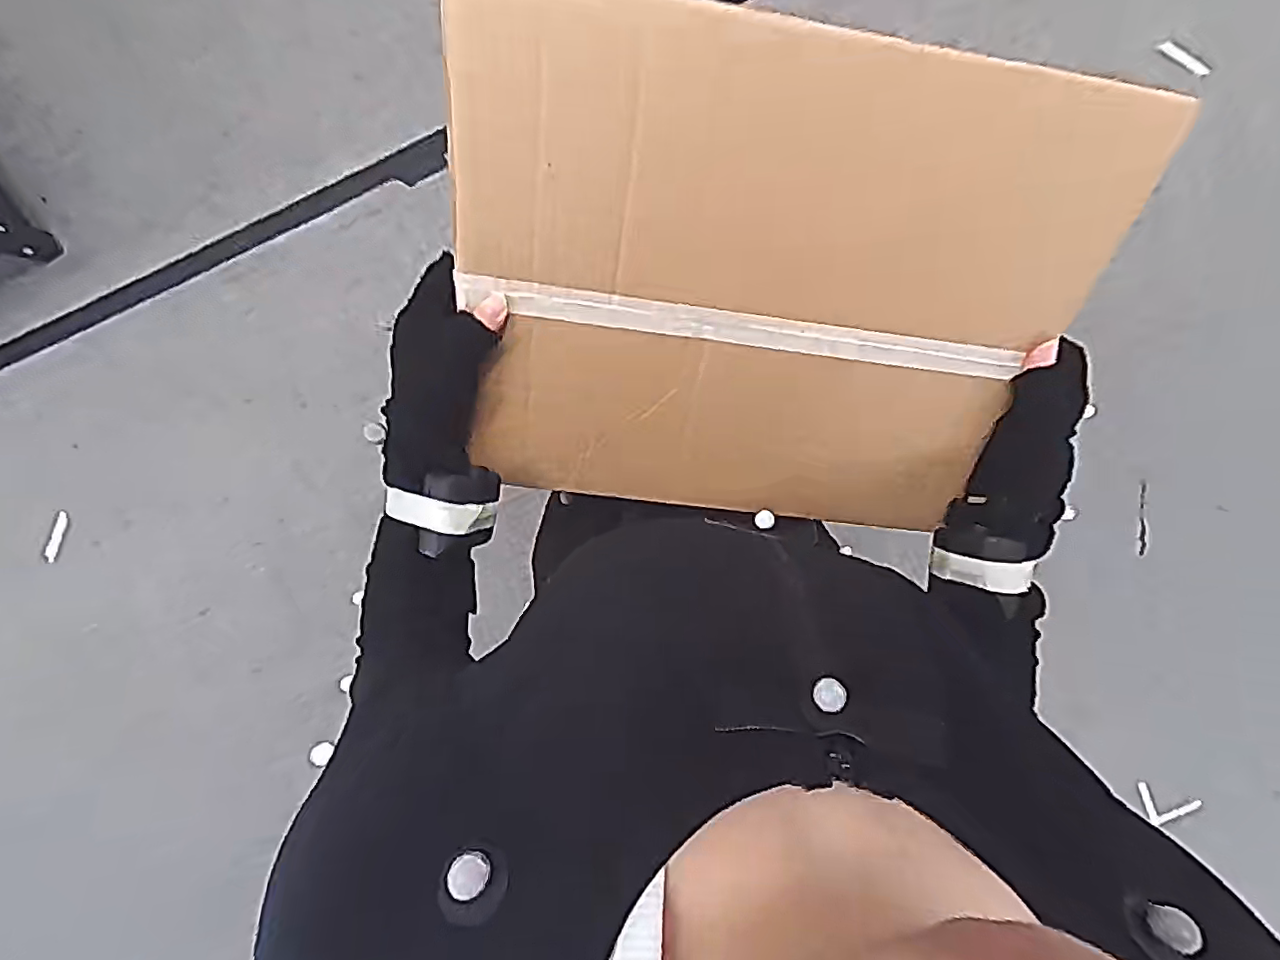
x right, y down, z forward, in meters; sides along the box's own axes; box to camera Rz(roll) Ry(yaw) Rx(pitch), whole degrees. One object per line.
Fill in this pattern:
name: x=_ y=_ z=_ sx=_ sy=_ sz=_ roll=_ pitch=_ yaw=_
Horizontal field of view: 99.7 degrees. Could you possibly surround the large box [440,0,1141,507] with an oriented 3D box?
large box: x=0.074 y=-0.202 z=0.500 sx=0.408 sy=0.320 sz=0.320 roll=6 pitch=125 yaw=-5
